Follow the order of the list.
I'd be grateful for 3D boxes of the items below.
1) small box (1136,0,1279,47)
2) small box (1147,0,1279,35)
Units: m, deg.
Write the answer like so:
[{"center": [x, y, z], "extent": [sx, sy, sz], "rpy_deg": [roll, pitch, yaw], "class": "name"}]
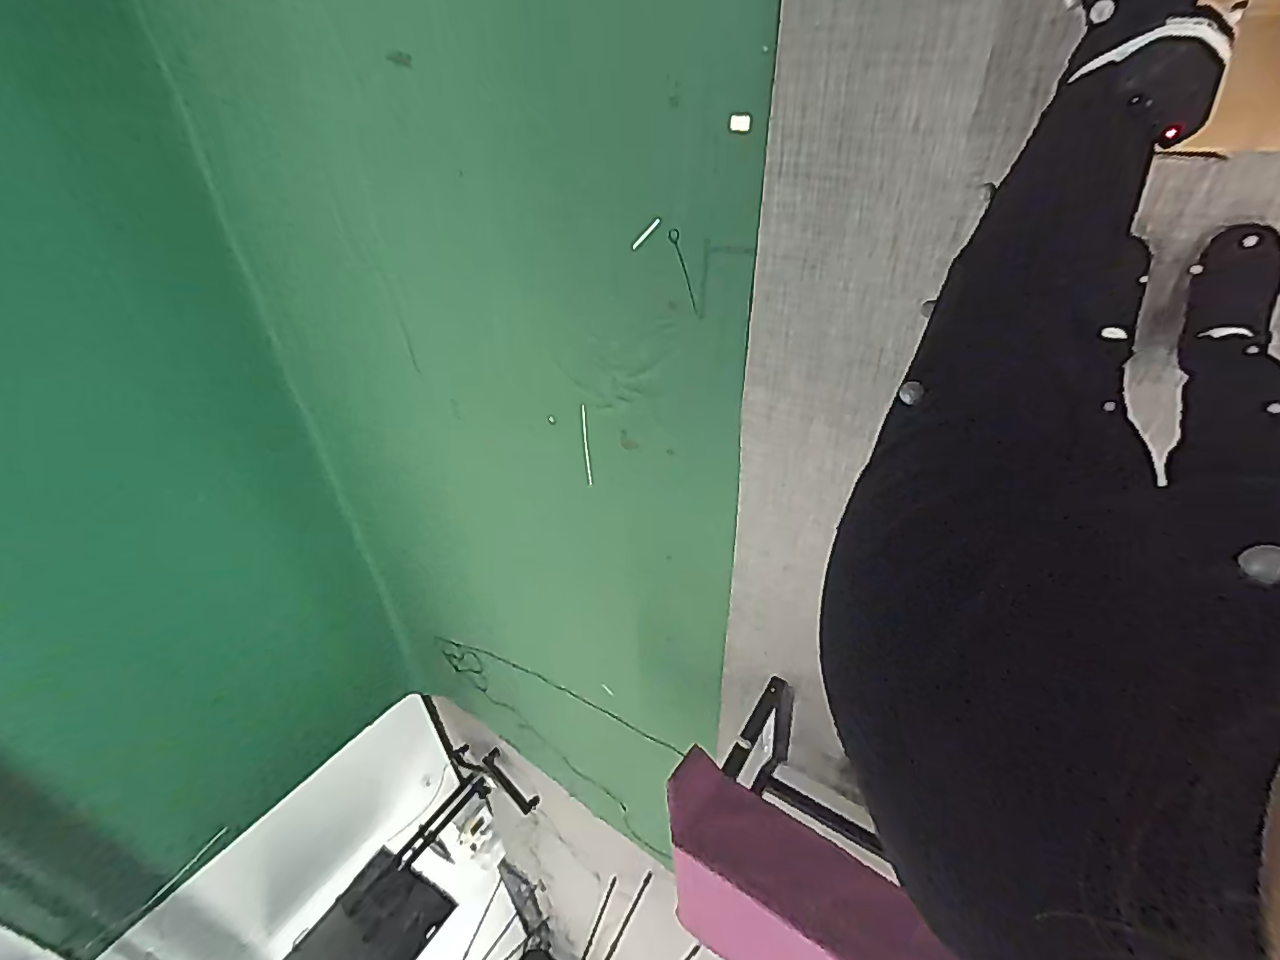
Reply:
[{"center": [0.639, -0.549, 0.535], "extent": [0.179, 0.176, 0.168], "rpy_deg": [20, 127, 31], "class": "small box"}, {"center": [0.541, -0.478, 0.426], "extent": [0.168, 0.176, 0.179], "rpy_deg": [21, 129, 29], "class": "small box"}]
